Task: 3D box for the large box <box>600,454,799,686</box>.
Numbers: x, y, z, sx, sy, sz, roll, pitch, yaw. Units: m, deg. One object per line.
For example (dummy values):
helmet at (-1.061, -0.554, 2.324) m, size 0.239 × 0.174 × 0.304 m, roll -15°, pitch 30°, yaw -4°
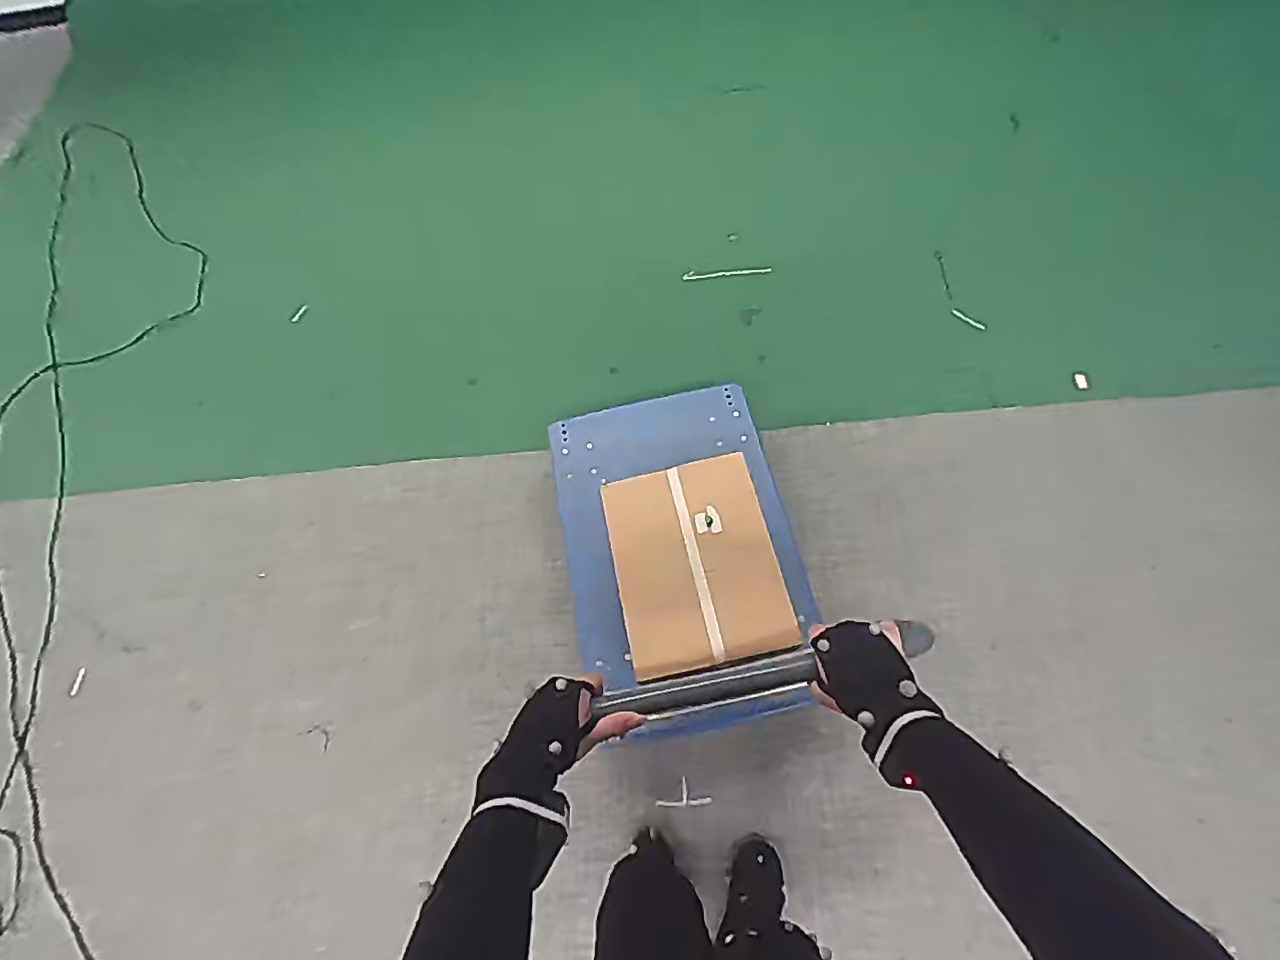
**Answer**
large box at (0.122, 0.213, 1.210) m, size 0.320 × 0.320 × 0.408 m, roll -13°, pitch 65°, yaw 0°
